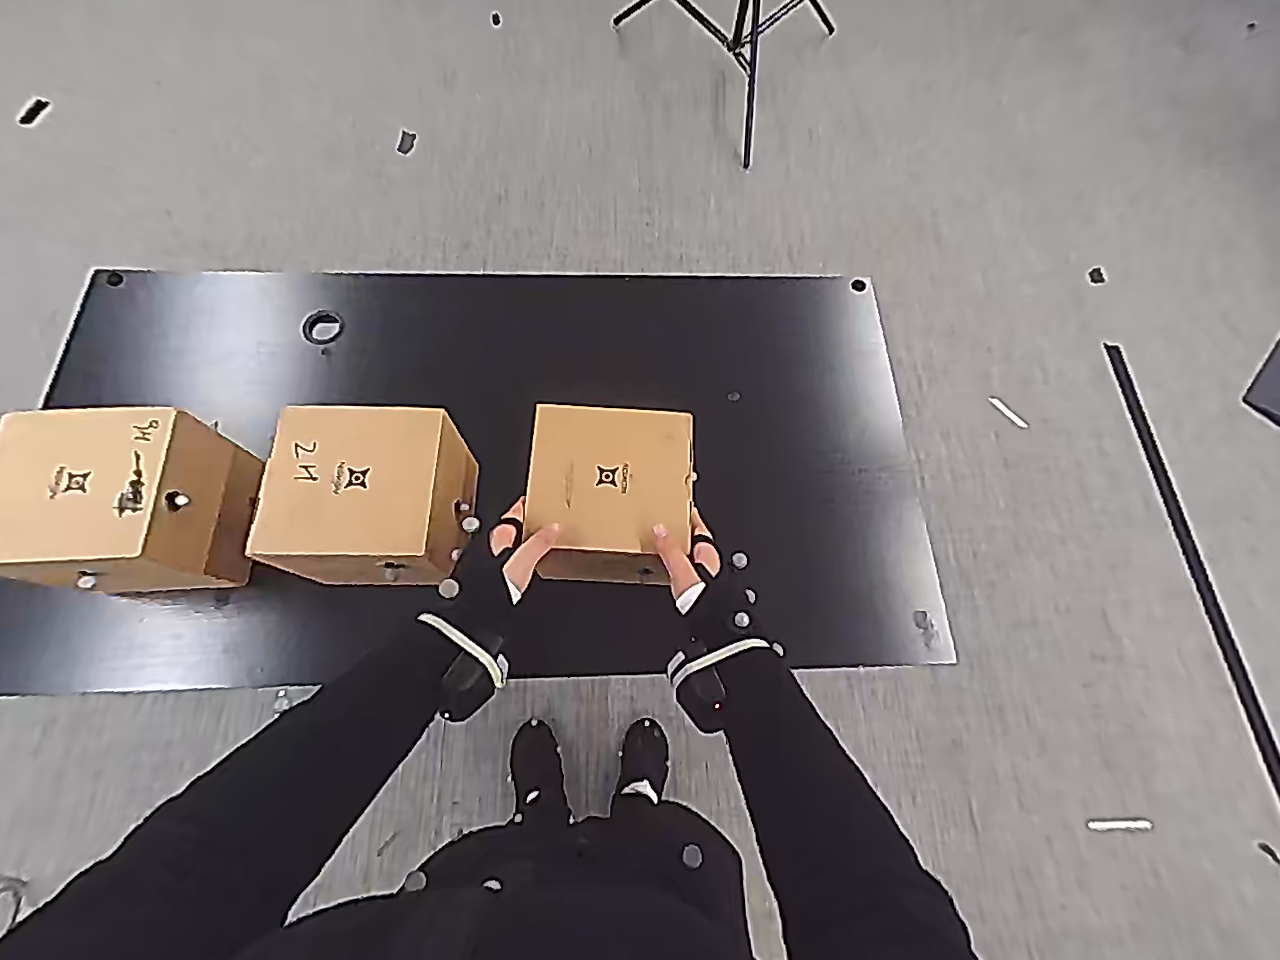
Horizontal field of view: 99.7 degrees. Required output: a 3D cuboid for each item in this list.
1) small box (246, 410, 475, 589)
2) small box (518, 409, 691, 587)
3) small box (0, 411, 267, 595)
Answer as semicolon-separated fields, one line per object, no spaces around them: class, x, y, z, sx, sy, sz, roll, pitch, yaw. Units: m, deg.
small box;-0.303;0.031;0.634;0.179;0.176;0.168;1;69;-2
small box;-0.036;0.031;0.650;0.179;0.176;0.168;2;68;-1
small box;-0.575;0.035;0.620;0.179;0.176;0.168;-3;70;-4
